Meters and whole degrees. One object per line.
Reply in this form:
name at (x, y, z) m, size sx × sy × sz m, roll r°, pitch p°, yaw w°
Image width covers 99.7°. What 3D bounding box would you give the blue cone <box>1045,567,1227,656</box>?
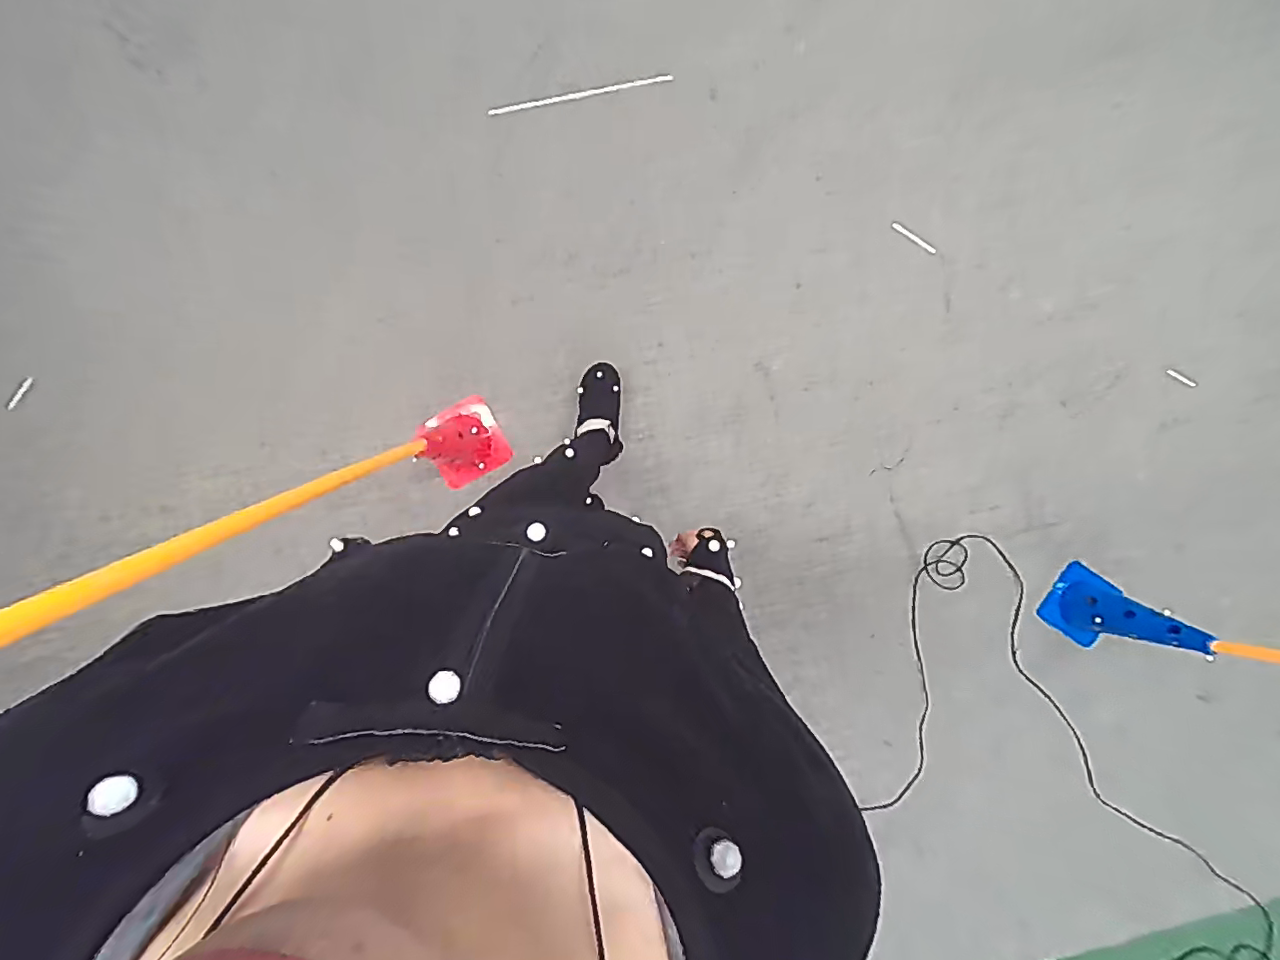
blue cone at (1.292, 0.371, 1.405) m, size 0.192 × 0.380 × 0.193 m, roll 32°, pitch 90°, yaw -4°
